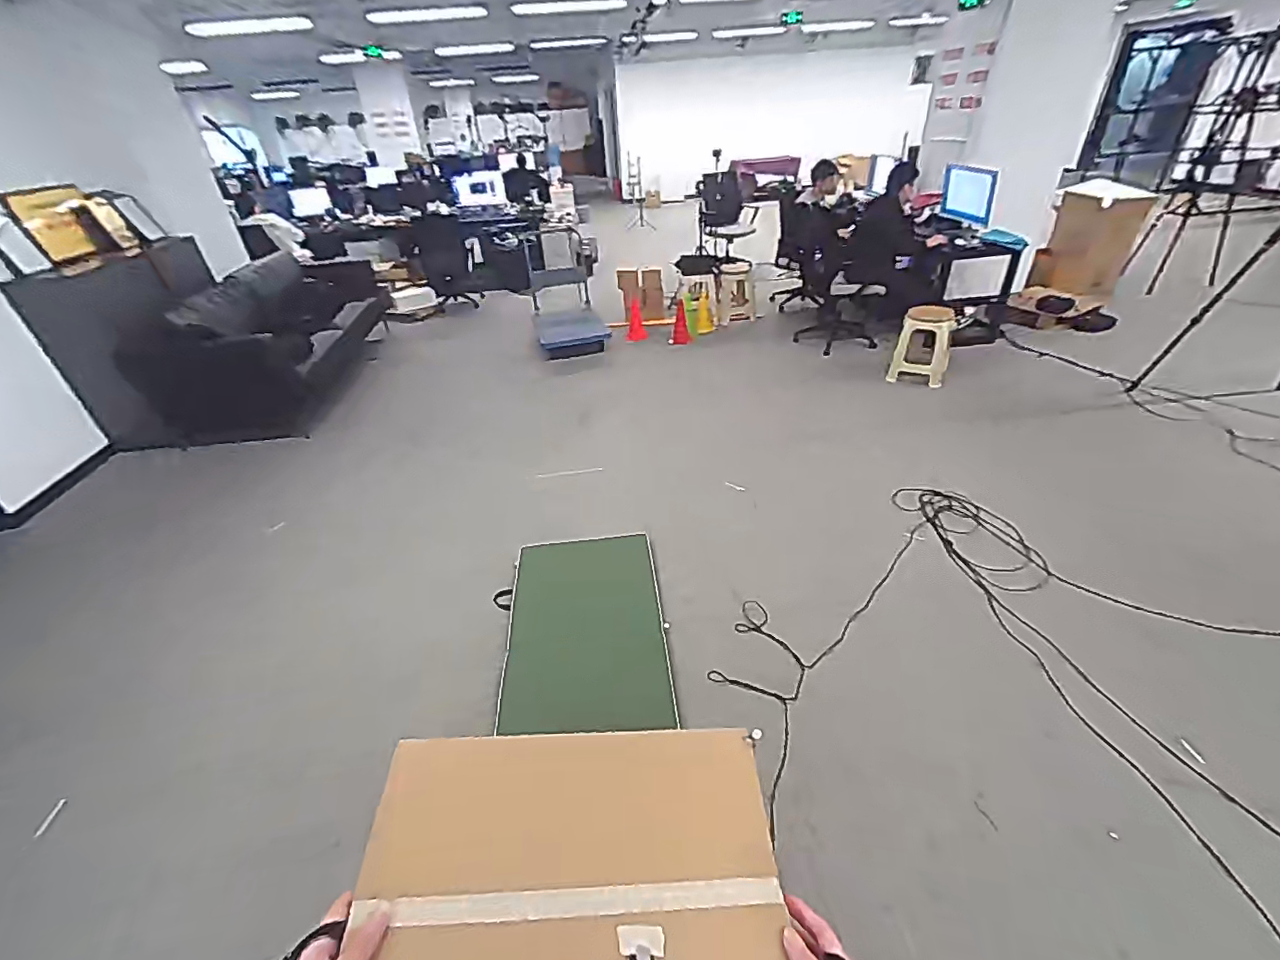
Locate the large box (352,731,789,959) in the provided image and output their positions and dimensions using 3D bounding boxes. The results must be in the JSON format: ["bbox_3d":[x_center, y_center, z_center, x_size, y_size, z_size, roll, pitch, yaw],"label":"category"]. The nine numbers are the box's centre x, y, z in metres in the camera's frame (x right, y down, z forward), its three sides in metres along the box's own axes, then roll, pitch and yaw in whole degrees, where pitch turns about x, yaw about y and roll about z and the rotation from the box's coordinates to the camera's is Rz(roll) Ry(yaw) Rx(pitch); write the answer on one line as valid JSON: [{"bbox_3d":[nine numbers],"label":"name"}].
[{"bbox_3d":[-0.070,0.518,0.620,0.408,0.320,0.320,-1,43,-3],"label":"large box"}]
